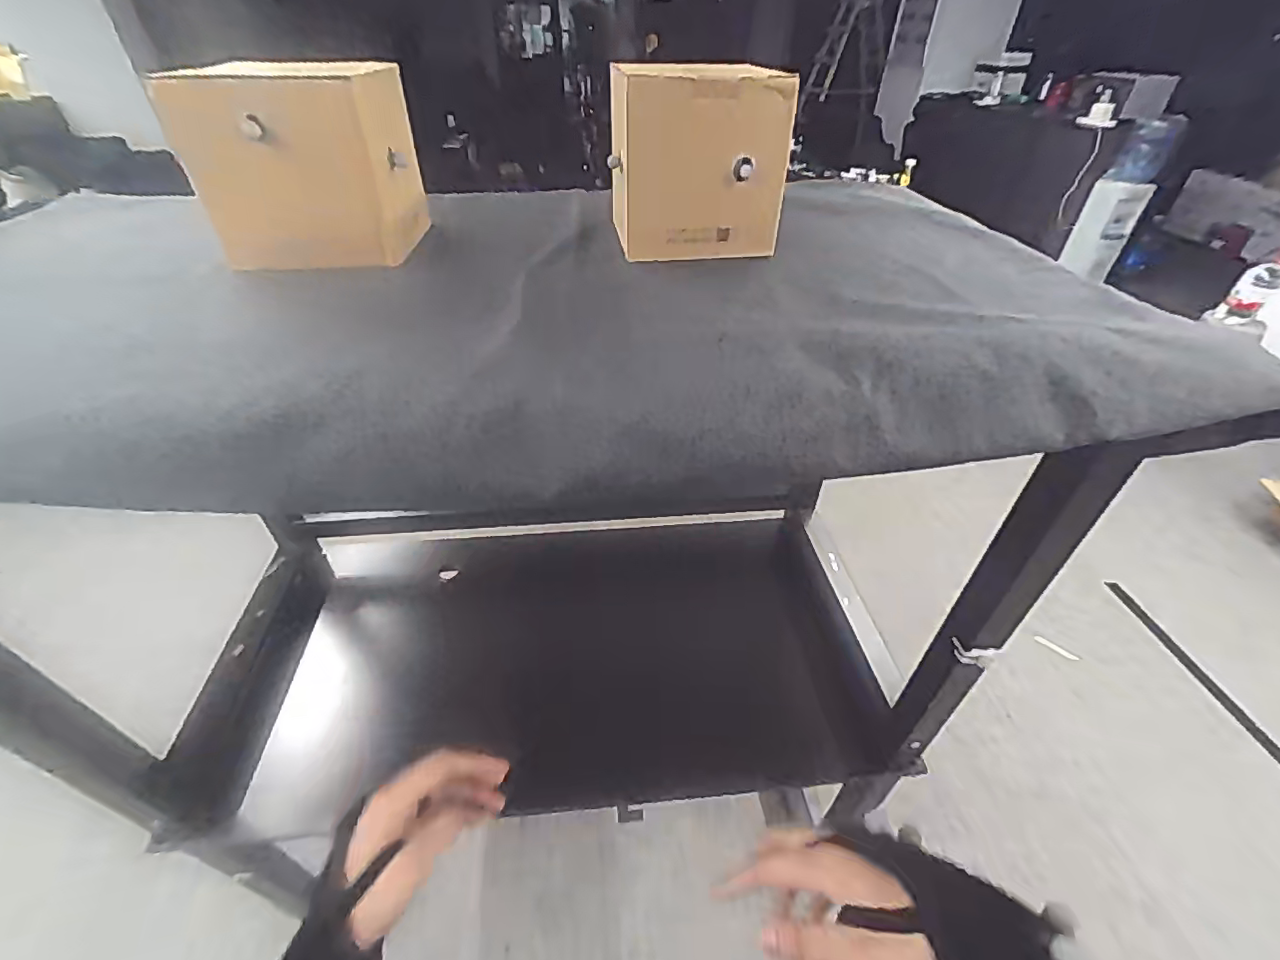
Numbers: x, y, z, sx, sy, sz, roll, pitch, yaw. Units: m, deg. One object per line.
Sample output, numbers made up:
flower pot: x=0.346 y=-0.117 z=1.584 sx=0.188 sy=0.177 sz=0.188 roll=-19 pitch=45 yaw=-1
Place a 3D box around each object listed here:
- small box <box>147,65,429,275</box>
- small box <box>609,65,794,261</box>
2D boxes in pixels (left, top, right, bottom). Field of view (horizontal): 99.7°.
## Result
small box: x=-0.344 y=-0.331 z=0.580 sx=0.179 sy=0.176 sz=0.168 roll=-3 pitch=40 yaw=-4
small box: x=0.055 y=-0.356 z=0.610 sx=0.168 sy=0.176 sz=0.179 roll=-4 pitch=41 yaw=-6
